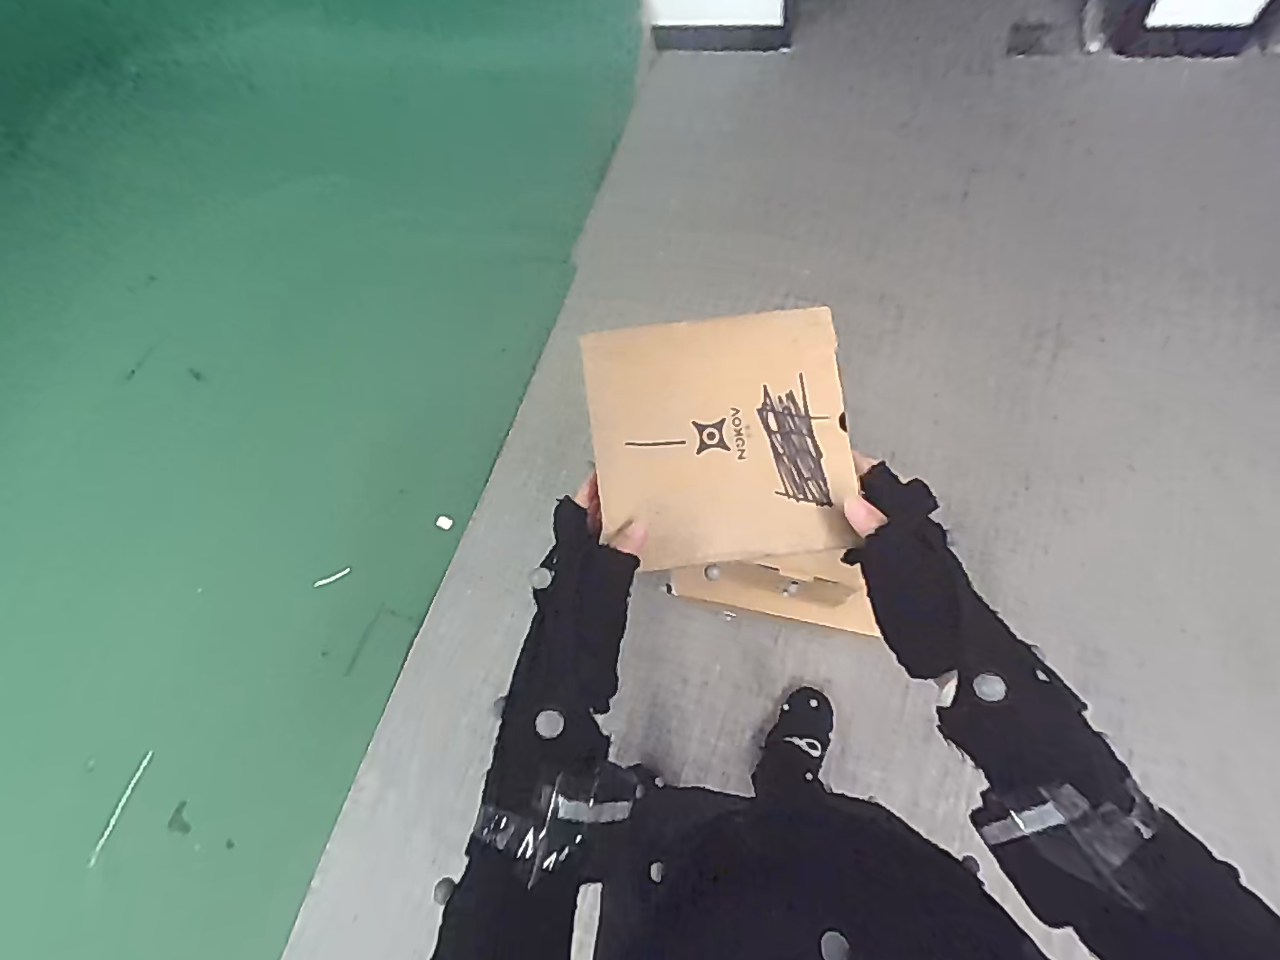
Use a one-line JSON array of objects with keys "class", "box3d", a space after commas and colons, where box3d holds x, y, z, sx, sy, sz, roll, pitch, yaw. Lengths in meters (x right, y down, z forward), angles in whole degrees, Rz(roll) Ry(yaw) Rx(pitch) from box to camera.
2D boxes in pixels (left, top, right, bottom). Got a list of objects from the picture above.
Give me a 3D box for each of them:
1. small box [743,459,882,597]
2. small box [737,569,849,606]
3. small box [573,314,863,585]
[{"class": "small box", "box3d": [0.243, 0.067, 0.795, 0.168, 0.176, 0.179, 11, 77, 17]}, {"class": "small box", "box3d": [0.277, 0.119, 0.947, 0.179, 0.176, 0.168, 12, 77, 16]}, {"class": "small box", "box3d": [0.047, -0.014, 0.433, 0.179, 0.176, 0.168, -7, 83, -2]}]
